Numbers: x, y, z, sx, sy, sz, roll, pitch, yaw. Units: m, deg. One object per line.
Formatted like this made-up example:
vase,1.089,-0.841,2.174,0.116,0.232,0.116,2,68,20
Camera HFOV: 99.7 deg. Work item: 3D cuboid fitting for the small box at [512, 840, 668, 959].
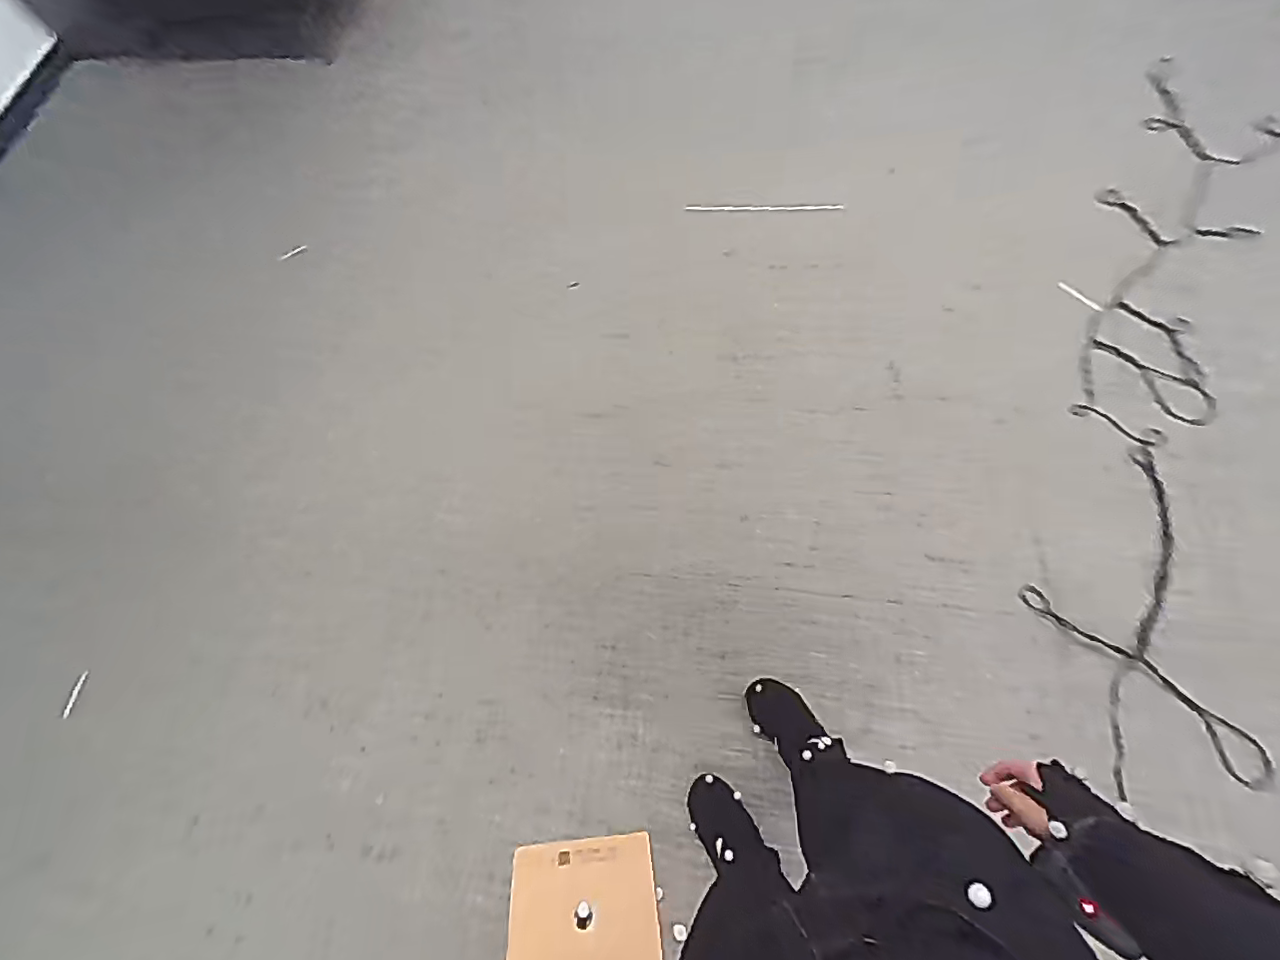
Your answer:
small box,-0.060,0.550,0.637,0.168,0.179,0.176,-3,34,-6
